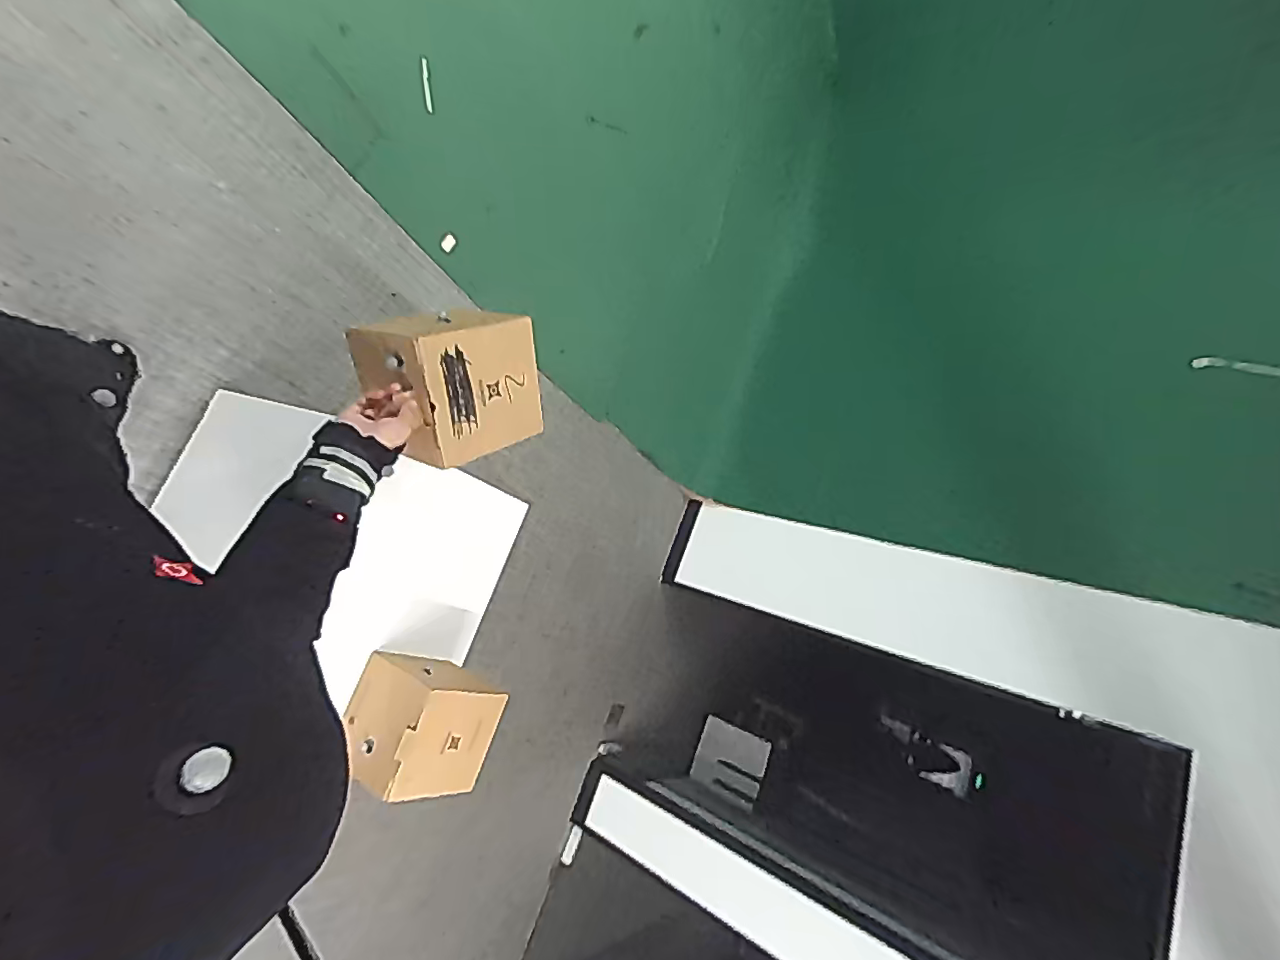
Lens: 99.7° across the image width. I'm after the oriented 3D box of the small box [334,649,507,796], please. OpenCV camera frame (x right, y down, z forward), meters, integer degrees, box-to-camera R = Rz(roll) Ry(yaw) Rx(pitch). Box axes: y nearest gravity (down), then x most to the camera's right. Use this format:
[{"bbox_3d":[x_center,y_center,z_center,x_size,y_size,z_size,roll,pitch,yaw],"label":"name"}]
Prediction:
[{"bbox_3d":[-0.364,0.394,0.900,0.179,0.176,0.168,38,69,-55],"label":"small box"}]
